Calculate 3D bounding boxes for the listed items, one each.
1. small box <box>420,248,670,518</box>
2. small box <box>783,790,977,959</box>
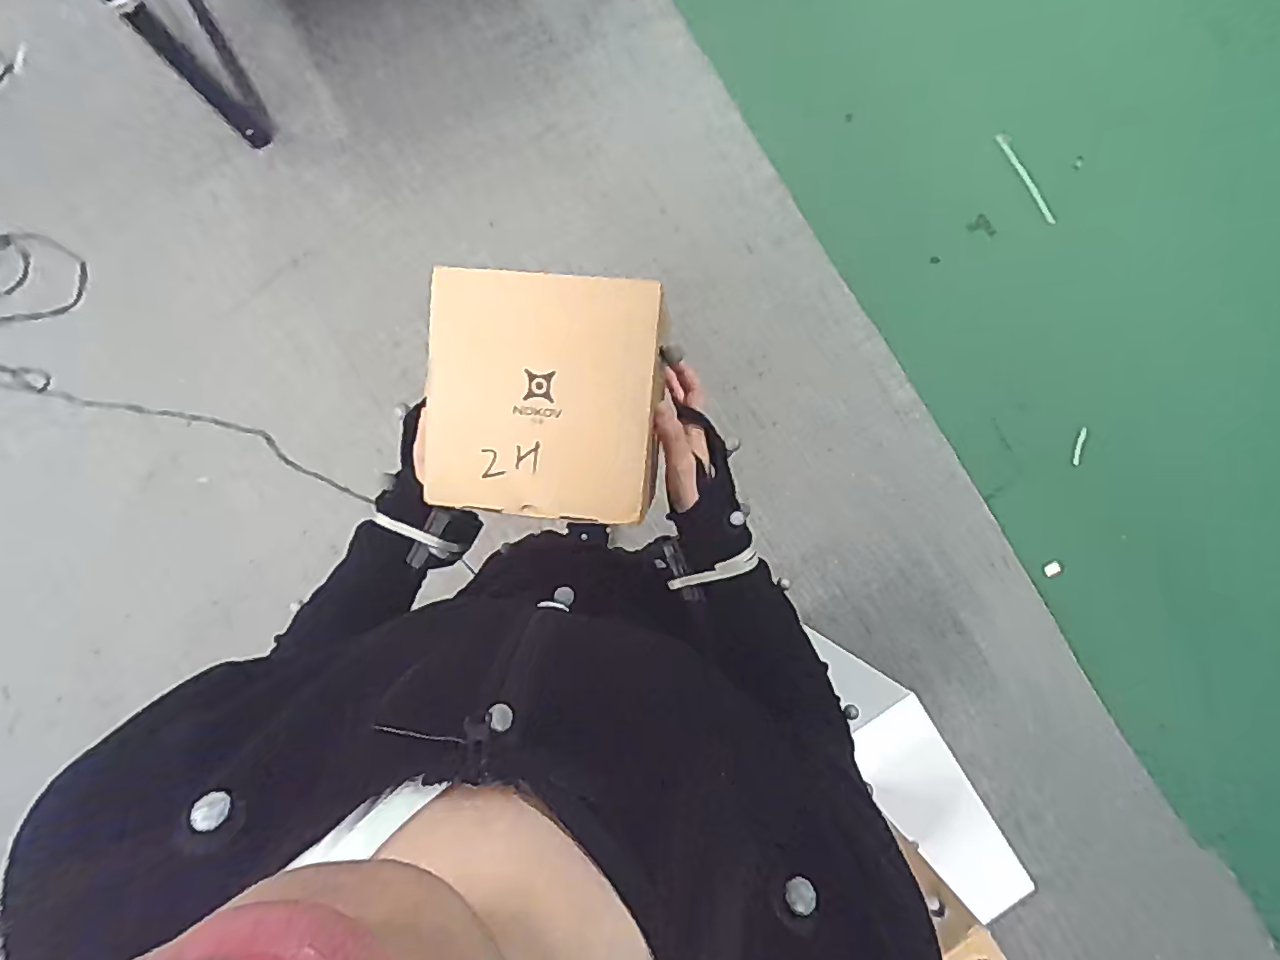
[{"bbox_3d":[-0.063,-0.073,0.452,0.168,0.176,0.179,5,96,5],"label":"small box"},{"bbox_3d":[0.347,0.620,0.815,0.168,0.176,0.179,-32,90,-5],"label":"small box"}]
